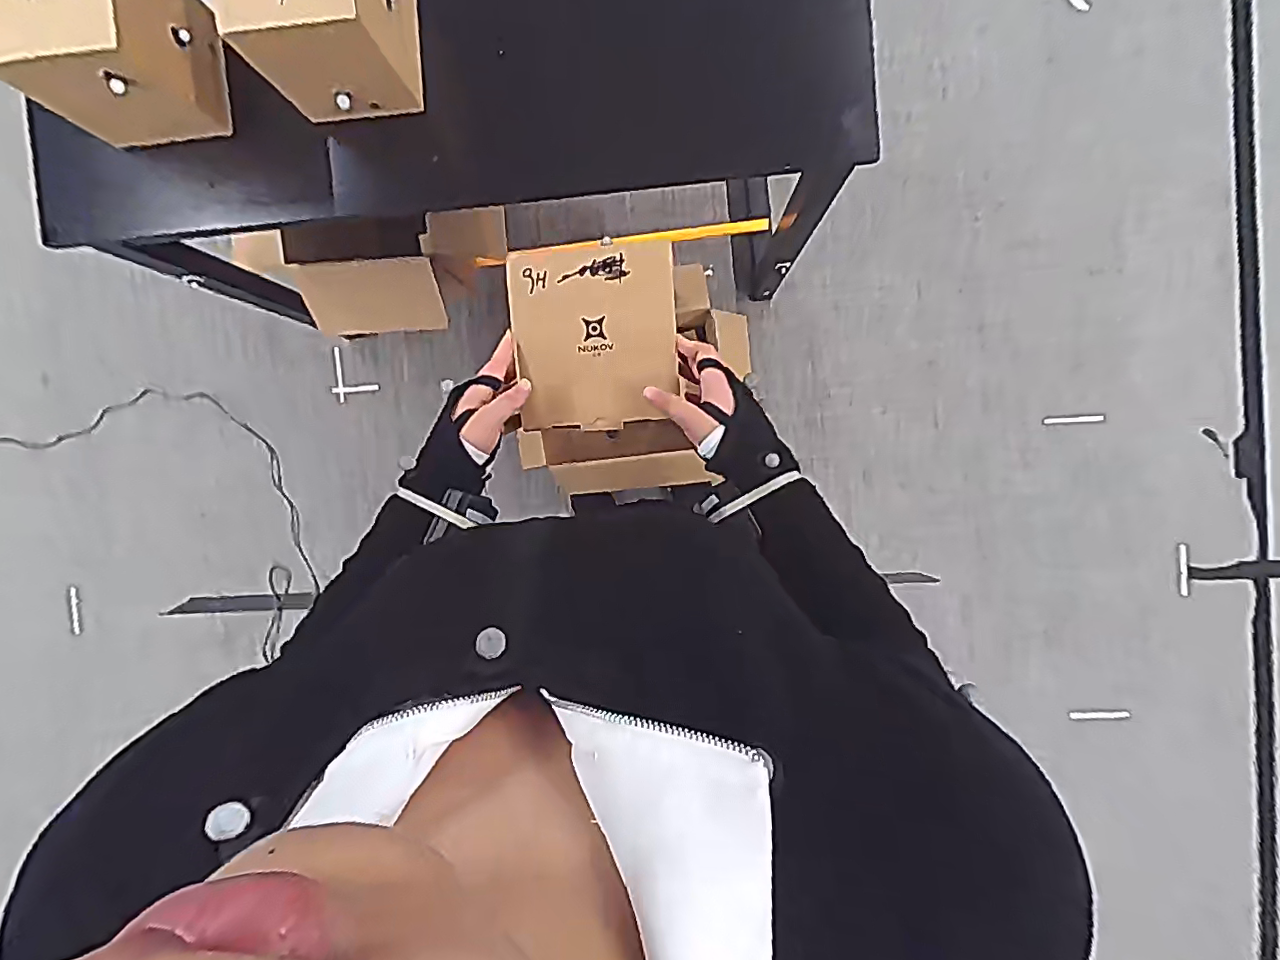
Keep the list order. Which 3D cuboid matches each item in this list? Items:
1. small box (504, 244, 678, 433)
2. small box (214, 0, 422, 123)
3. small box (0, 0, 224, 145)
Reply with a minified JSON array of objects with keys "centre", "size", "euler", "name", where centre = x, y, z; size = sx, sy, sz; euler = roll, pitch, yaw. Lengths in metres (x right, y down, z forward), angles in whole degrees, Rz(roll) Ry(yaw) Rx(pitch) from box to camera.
[{"centre":[-0.043,-0.150,0.619],"size":[0.168,0.176,0.179],"euler":[-4,97,5],"name":"small box"},{"centre":[-0.393,-0.592,0.679],"size":[0.168,0.176,0.179],"euler":[-3,93,3],"name":"small box"},{"centre":[-0.676,-0.563,0.692],"size":[0.179,0.176,0.168],"euler":[-5,92,3],"name":"small box"}]
